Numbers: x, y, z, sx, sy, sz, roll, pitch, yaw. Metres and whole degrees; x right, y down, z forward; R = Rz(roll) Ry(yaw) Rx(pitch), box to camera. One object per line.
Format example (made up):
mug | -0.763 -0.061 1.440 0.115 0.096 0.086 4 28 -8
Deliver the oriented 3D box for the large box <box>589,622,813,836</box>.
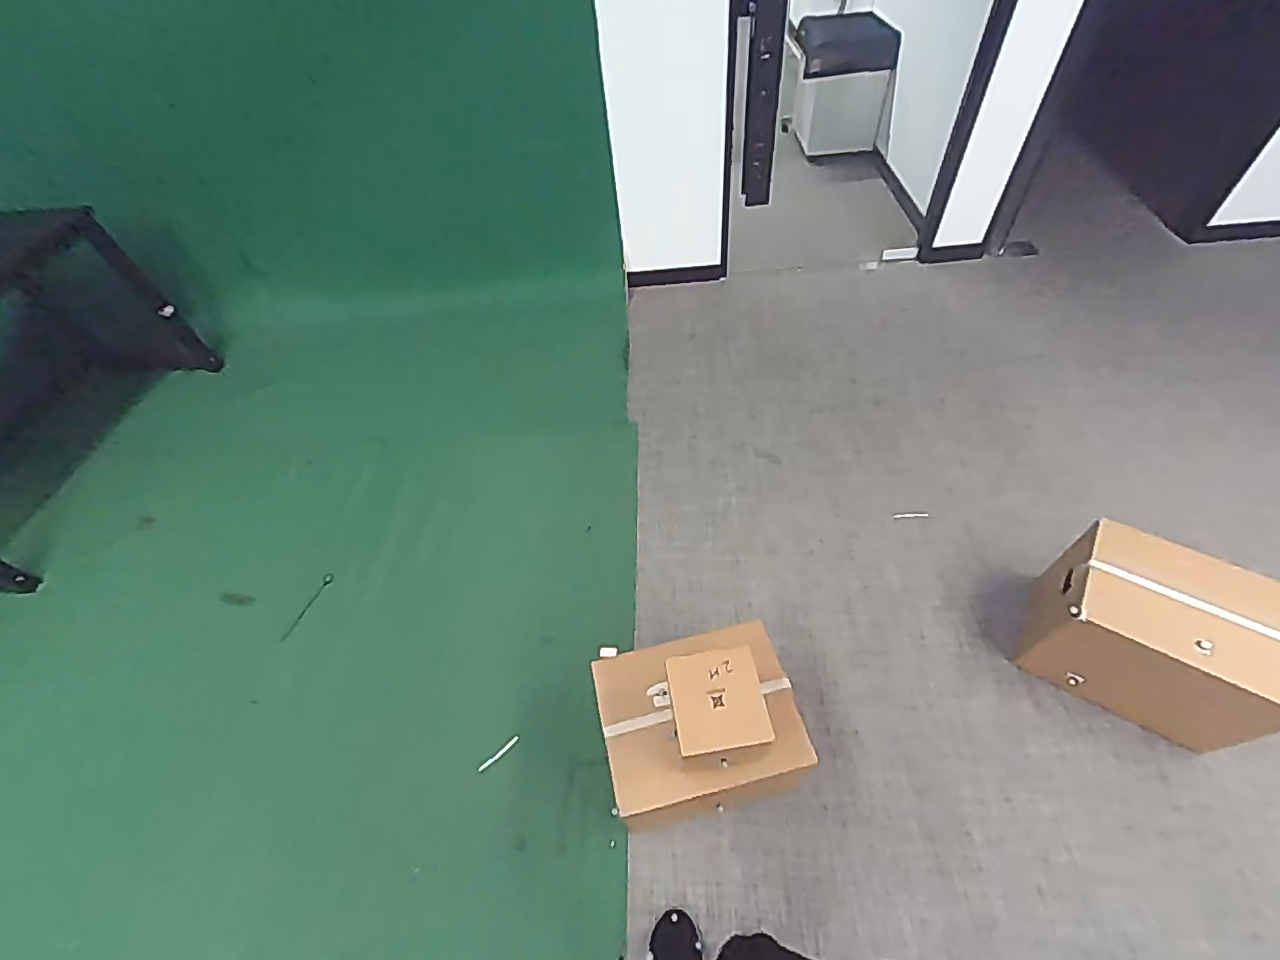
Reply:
large box | 0.128 0.575 1.241 0.408 0.320 0.320 -14 51 -4

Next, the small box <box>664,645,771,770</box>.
small box | 0.141 0.439 1.030 0.168 0.176 0.179 -8 52 -2
